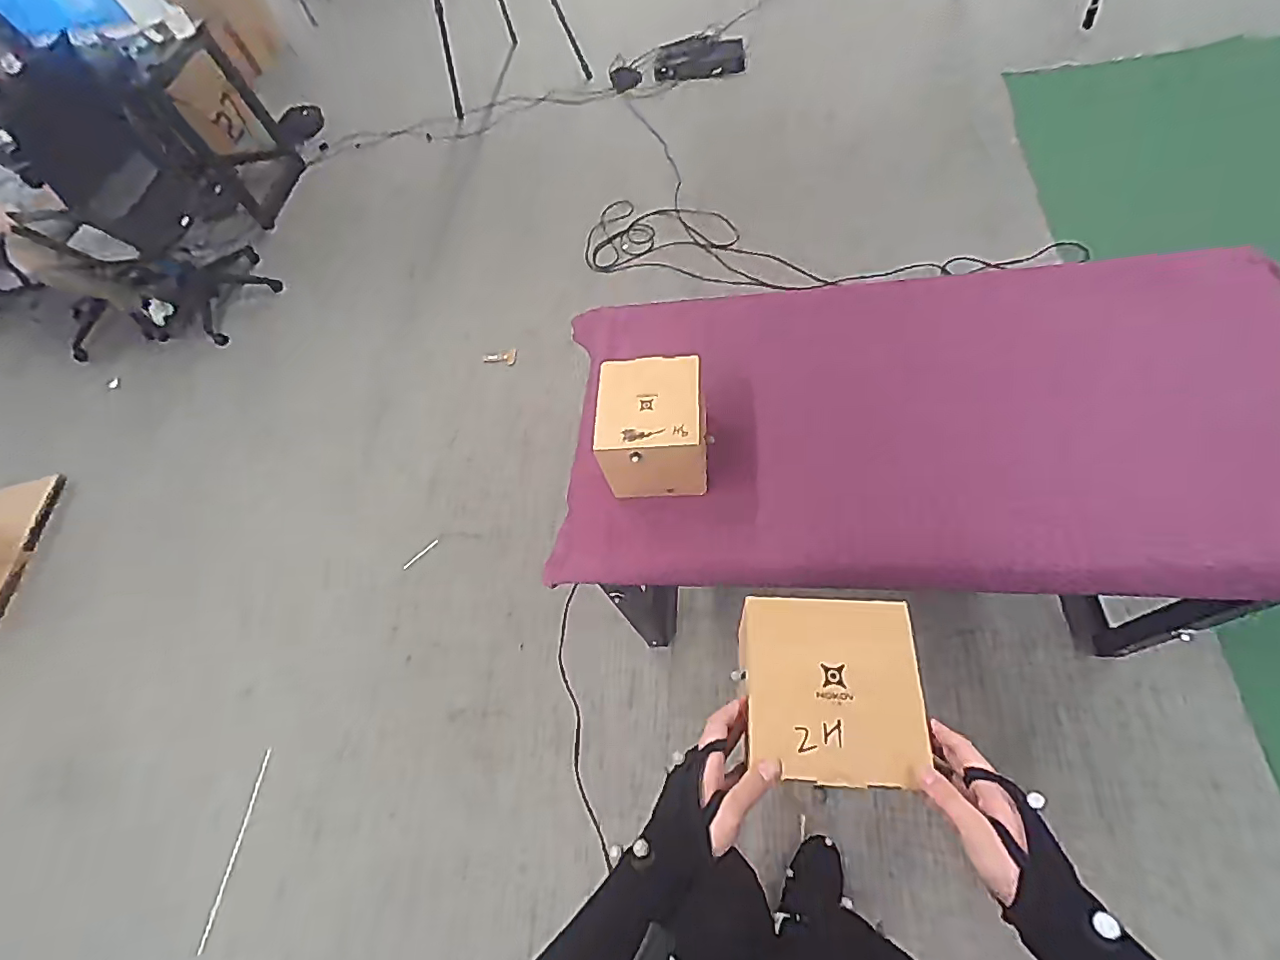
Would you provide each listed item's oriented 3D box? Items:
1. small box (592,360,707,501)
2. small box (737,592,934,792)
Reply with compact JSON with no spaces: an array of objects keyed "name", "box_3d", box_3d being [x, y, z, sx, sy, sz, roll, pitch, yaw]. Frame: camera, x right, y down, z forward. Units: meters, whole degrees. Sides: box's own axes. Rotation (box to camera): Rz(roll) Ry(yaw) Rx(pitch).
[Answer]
[{"name":"small box","box_3d":[0.025,-0.079,0.920,0.168,0.176,0.179,-2,60,10]},{"name":"small box","box_3d":[0.195,0.237,0.598,0.168,0.176,0.179,1,61,8]}]
